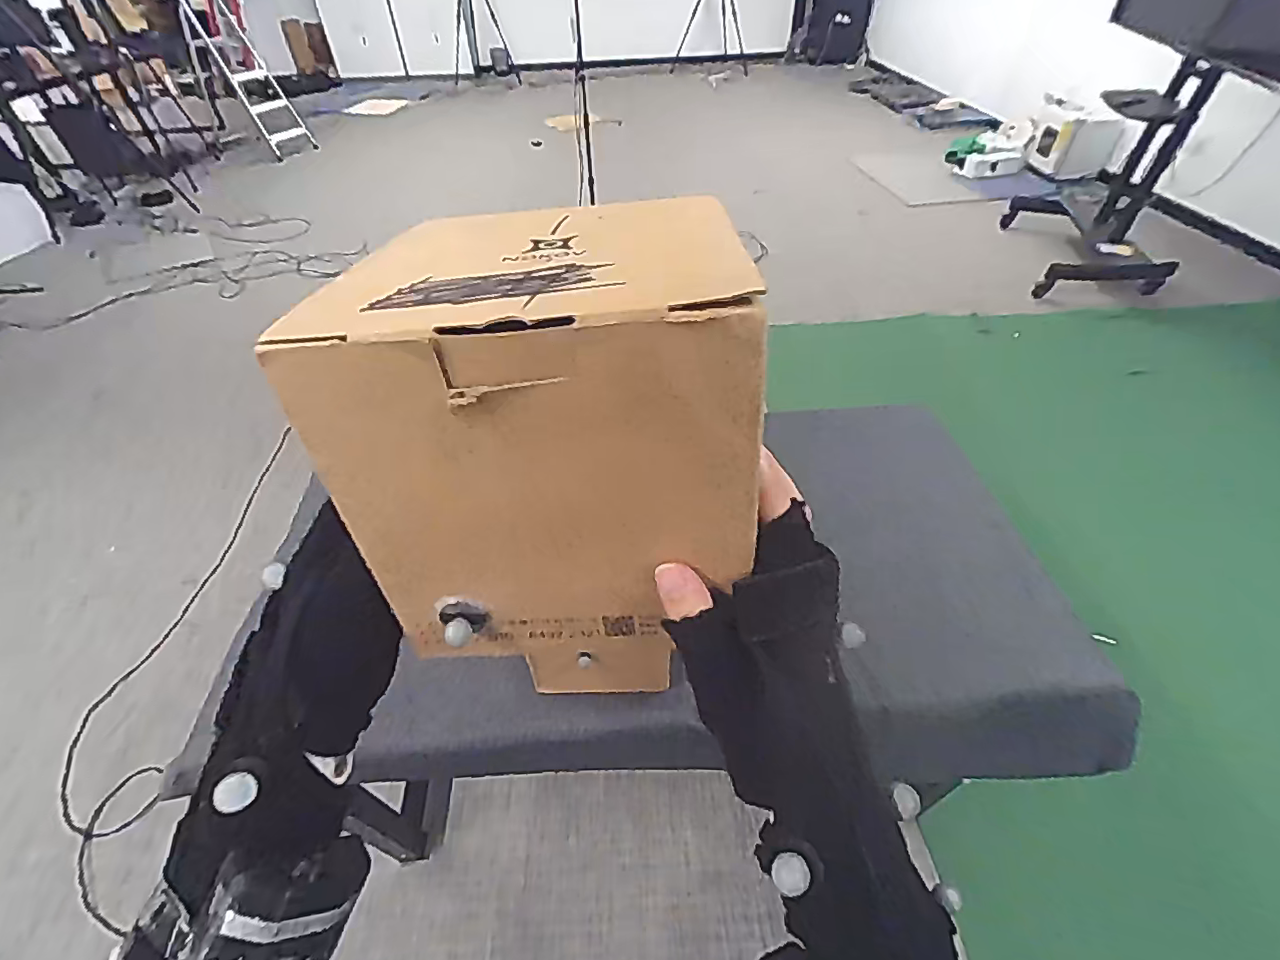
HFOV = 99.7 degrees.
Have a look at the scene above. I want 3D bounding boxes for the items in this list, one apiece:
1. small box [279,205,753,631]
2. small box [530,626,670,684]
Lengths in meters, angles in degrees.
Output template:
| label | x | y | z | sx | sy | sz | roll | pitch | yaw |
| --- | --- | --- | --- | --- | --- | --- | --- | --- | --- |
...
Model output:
| label | x | y | z | sx | sy | sz | roll | pitch | yaw |
| --- | --- | --- | --- | --- | --- | --- | --- | --- | --- |
| small box | -0.034 | -0.034 | 0.291 | 0.168 | 0.176 | 0.179 | -3 | 36 | 3 |
| small box | -0.050 | 0.162 | 0.729 | 0.179 | 0.176 | 0.168 | -1 | 45 | 1 |
